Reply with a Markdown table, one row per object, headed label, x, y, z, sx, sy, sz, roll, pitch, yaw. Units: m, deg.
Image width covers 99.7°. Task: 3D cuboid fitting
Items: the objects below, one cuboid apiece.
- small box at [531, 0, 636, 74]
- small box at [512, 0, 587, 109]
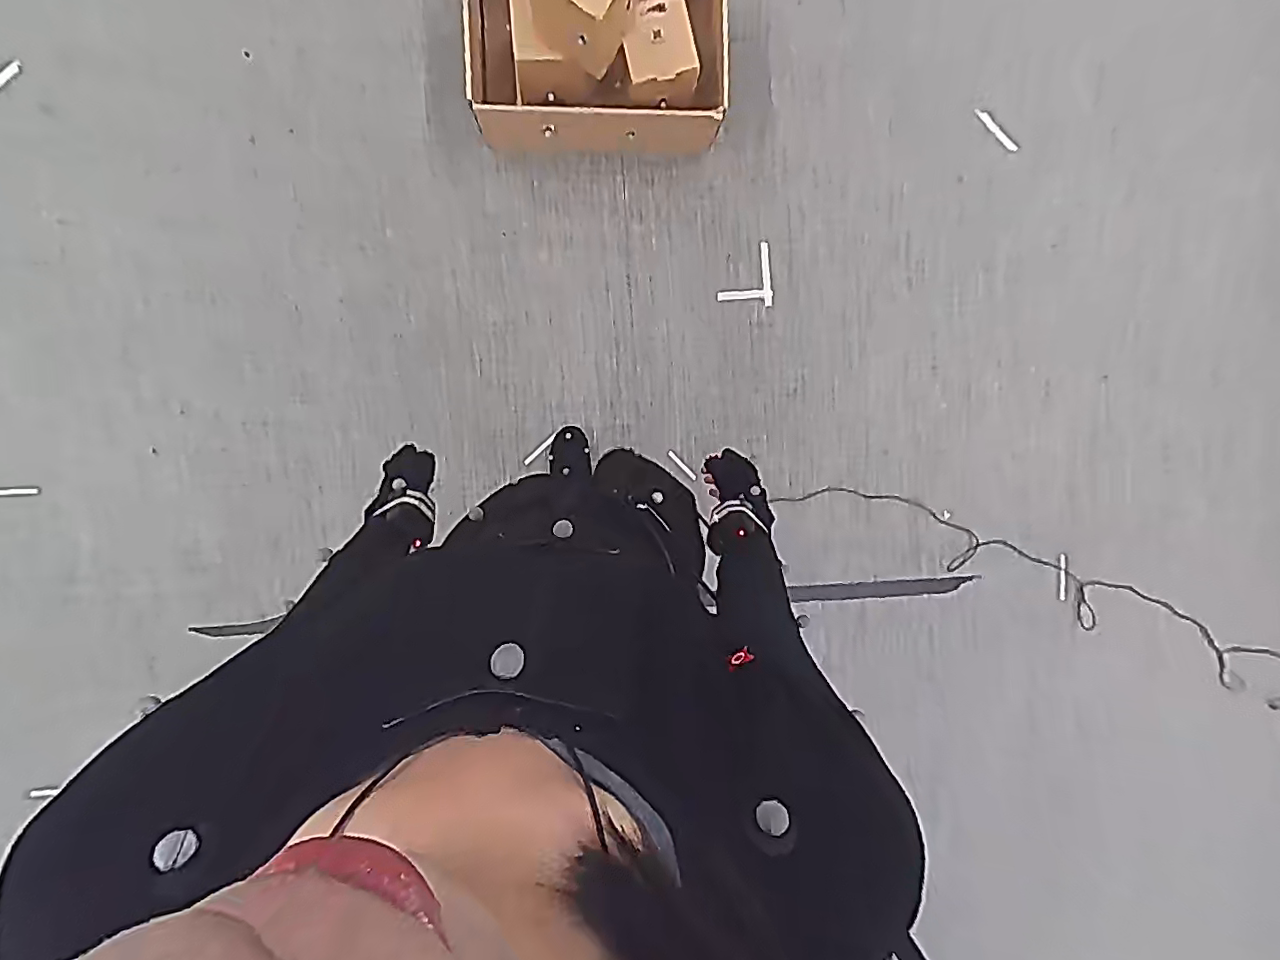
| label | x | y | z | sx | sy | sz | roll | pitch | yaw |
| --- | --- | --- | --- | --- | --- | --- | --- | --- | --- |
| small box | -0.115 | -1.022 | 1.152 | 0.179 | 0.176 | 0.168 | 30 | 88 | -5 |
| small box | -0.216 | -1.040 | 1.304 | 0.168 | 0.176 | 0.179 | -4 | 94 | -6 |
